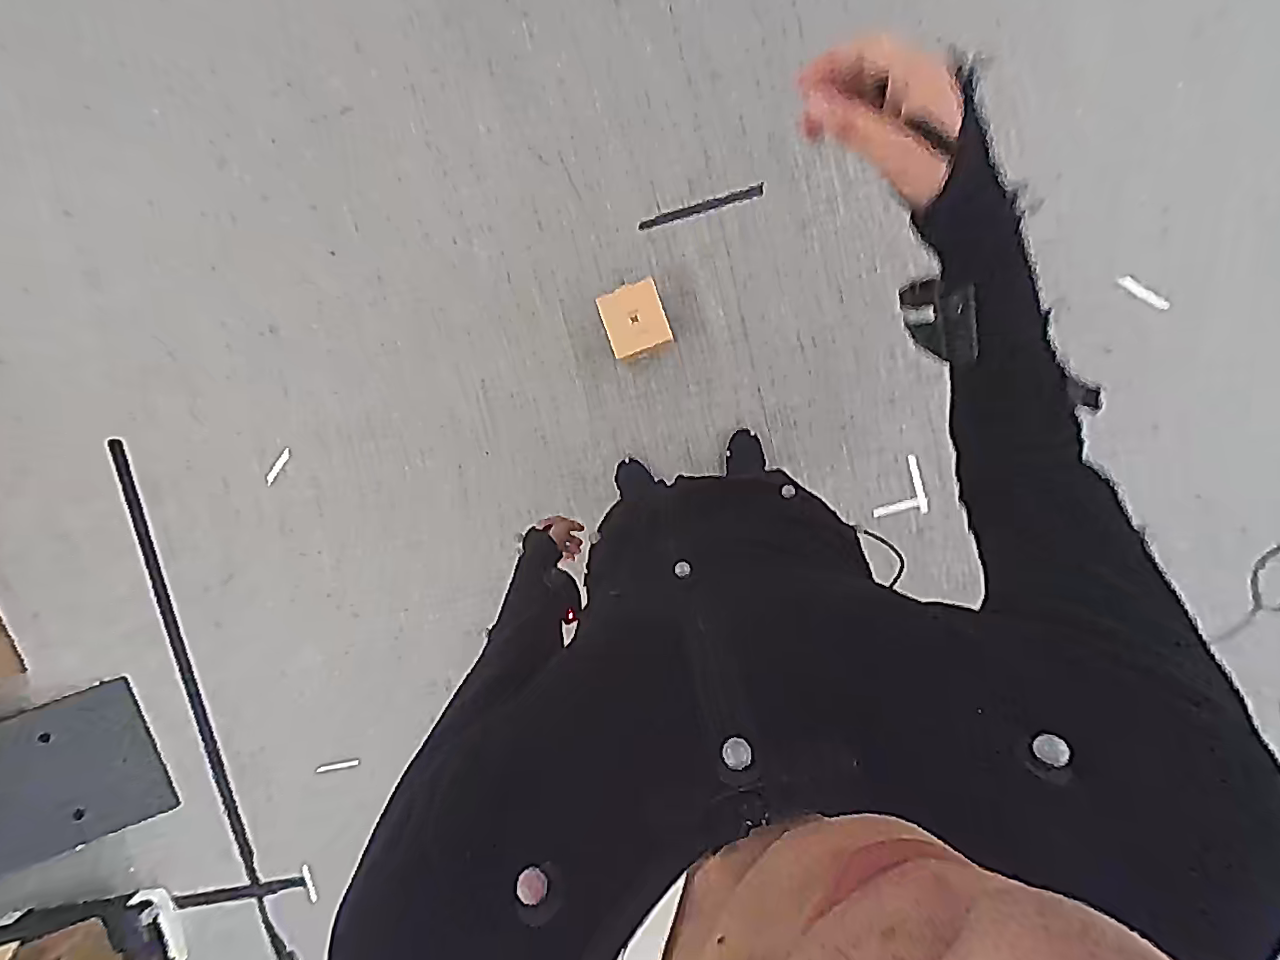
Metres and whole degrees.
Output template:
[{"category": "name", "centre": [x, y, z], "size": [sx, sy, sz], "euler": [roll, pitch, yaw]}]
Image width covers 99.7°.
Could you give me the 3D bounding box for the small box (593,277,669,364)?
[{"category": "small box", "centre": [-0.021, -0.443, 1.530], "size": [0.168, 0.176, 0.179], "euler": [-19, 94, 6]}]
